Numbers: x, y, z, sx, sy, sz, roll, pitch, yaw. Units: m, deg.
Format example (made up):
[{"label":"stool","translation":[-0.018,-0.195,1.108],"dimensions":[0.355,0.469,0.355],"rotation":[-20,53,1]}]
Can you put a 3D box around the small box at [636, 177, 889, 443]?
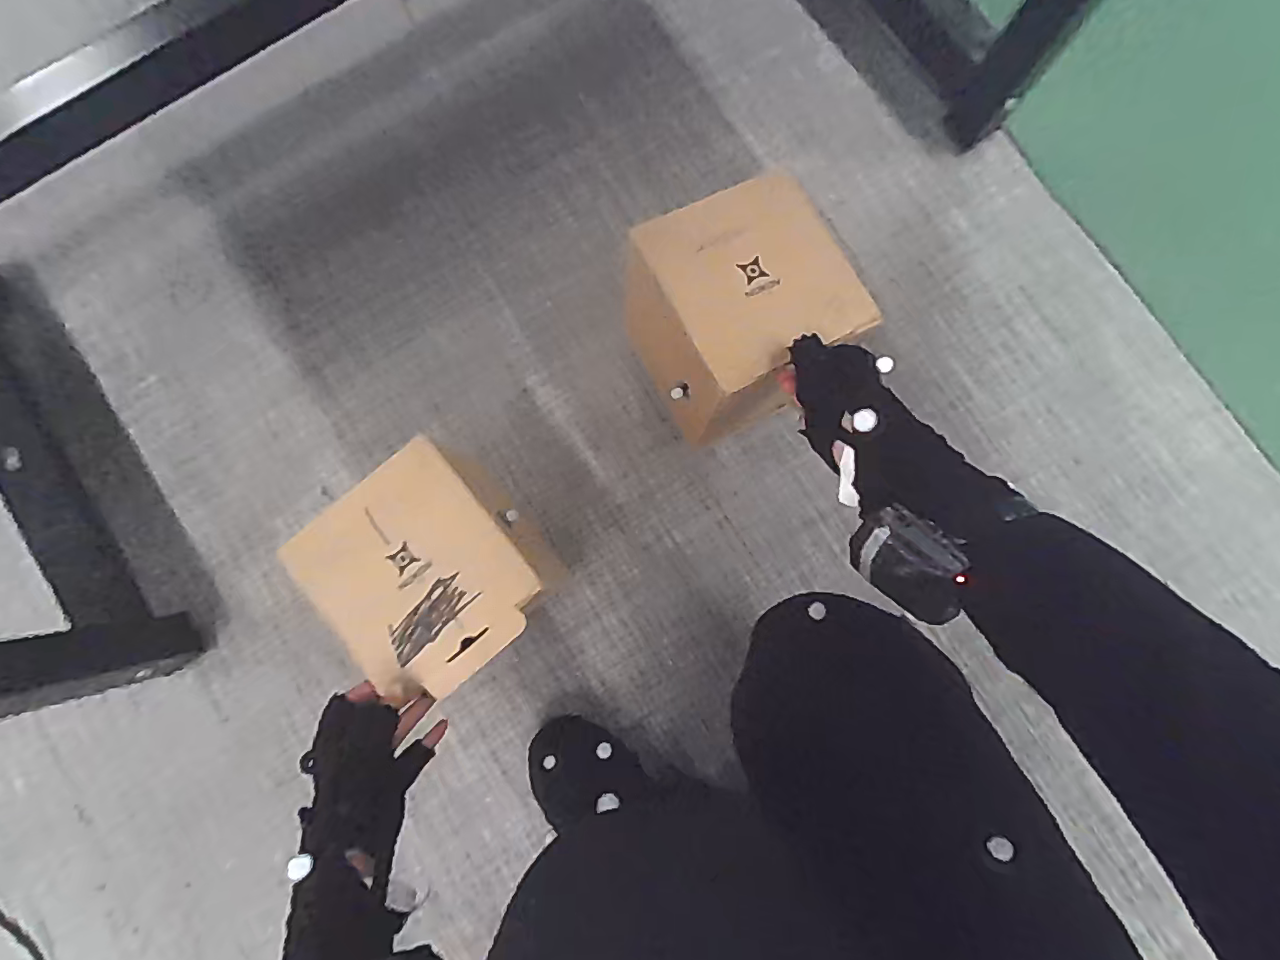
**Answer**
[{"label":"small box","translation":[0.105,-0.154,0.551],"dimensions":[0.168,0.176,0.179],"rotation":[-26,78,-9]}]
